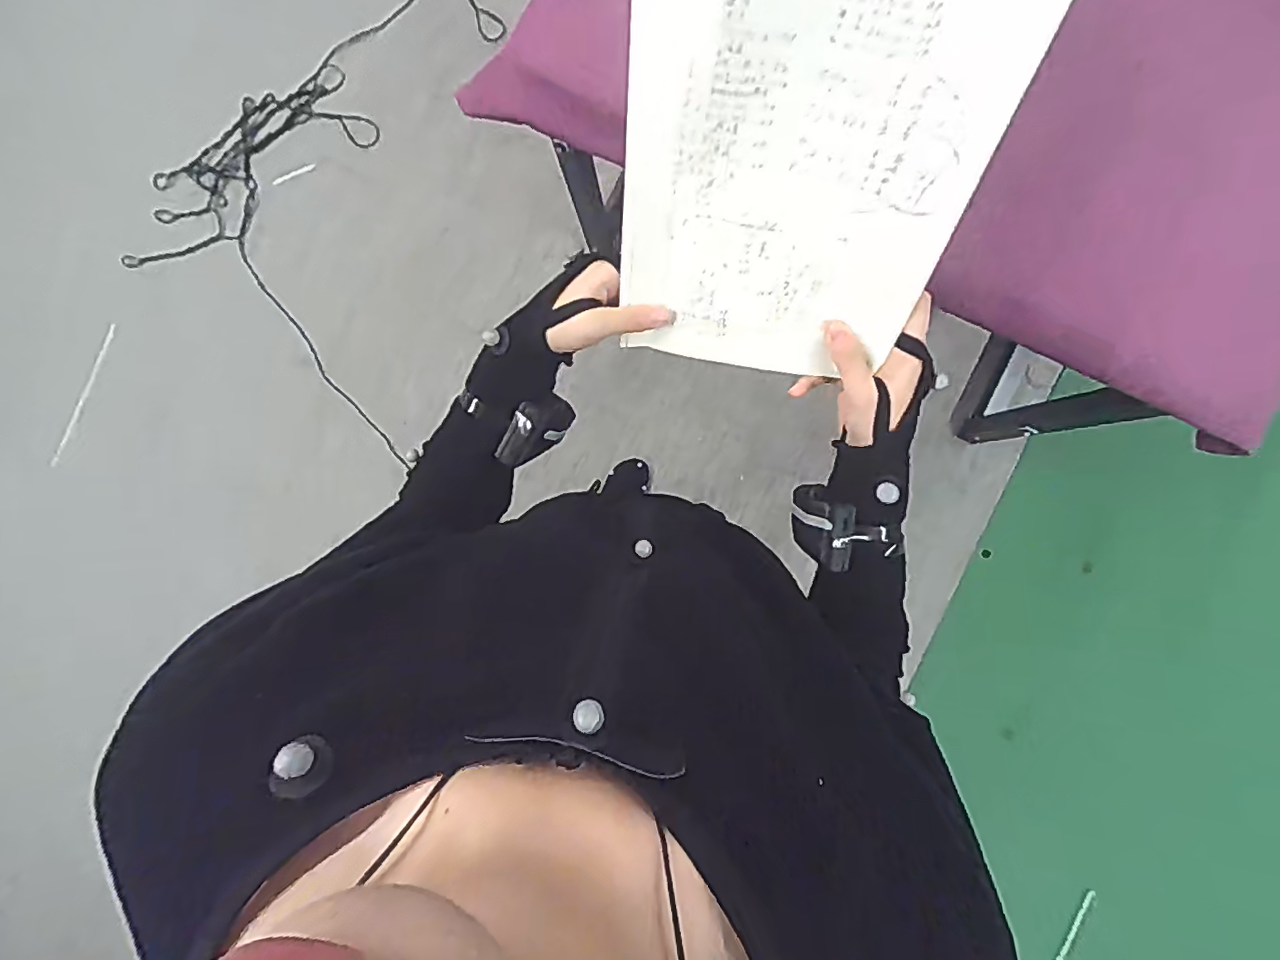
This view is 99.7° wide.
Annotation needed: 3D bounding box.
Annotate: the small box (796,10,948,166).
[{"bbox_3d":[0.322,-0.557,0.704,0.168,0.176,0.179,28,91,3],"label":"small box"}]
